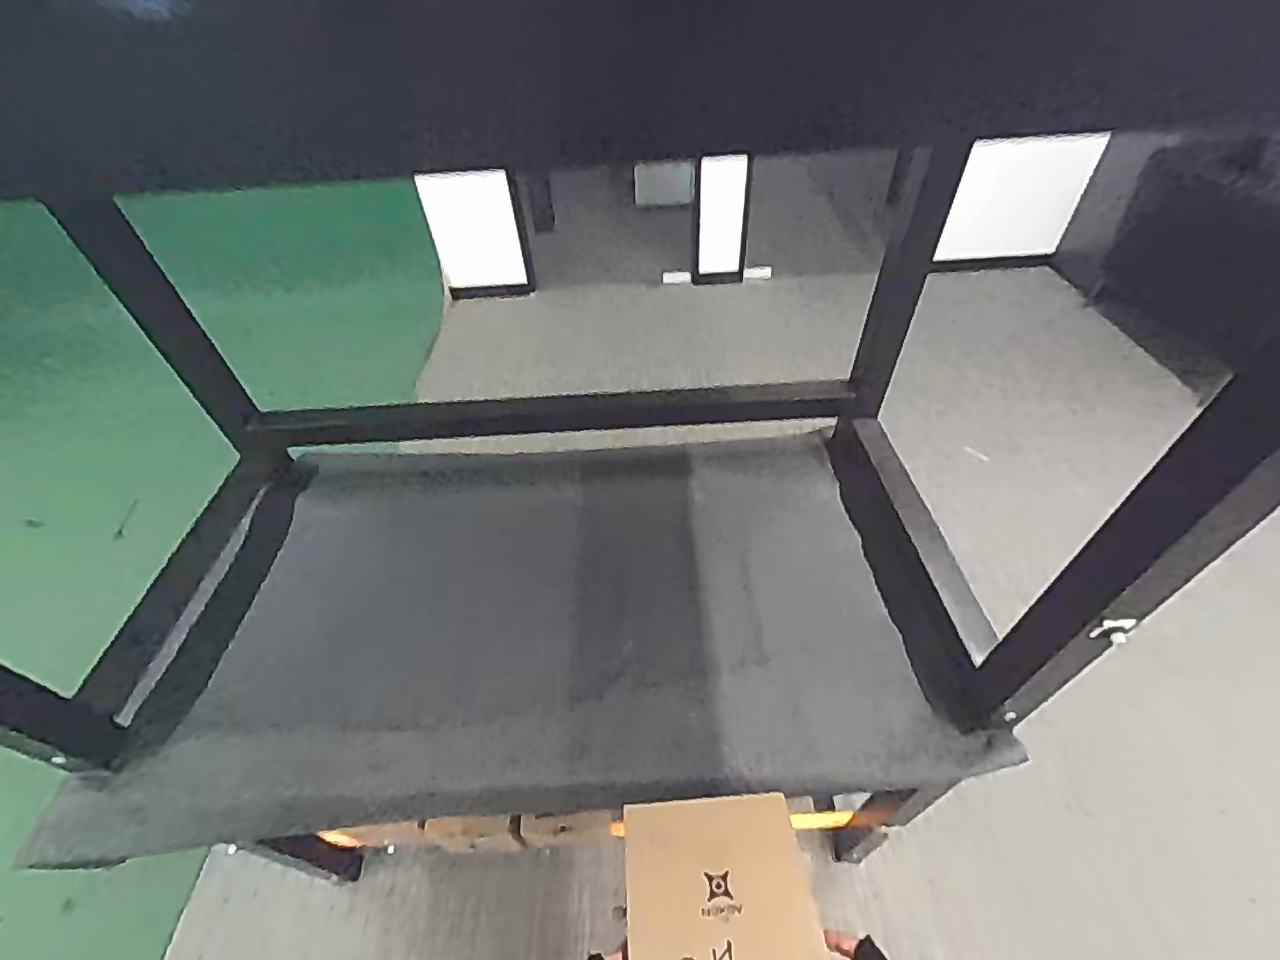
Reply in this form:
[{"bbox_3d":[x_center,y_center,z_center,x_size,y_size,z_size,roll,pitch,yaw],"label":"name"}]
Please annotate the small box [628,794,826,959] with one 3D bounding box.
[{"bbox_3d":[0.074,0.442,0.525,0.168,0.176,0.179,-4,31,-1],"label":"small box"}]
